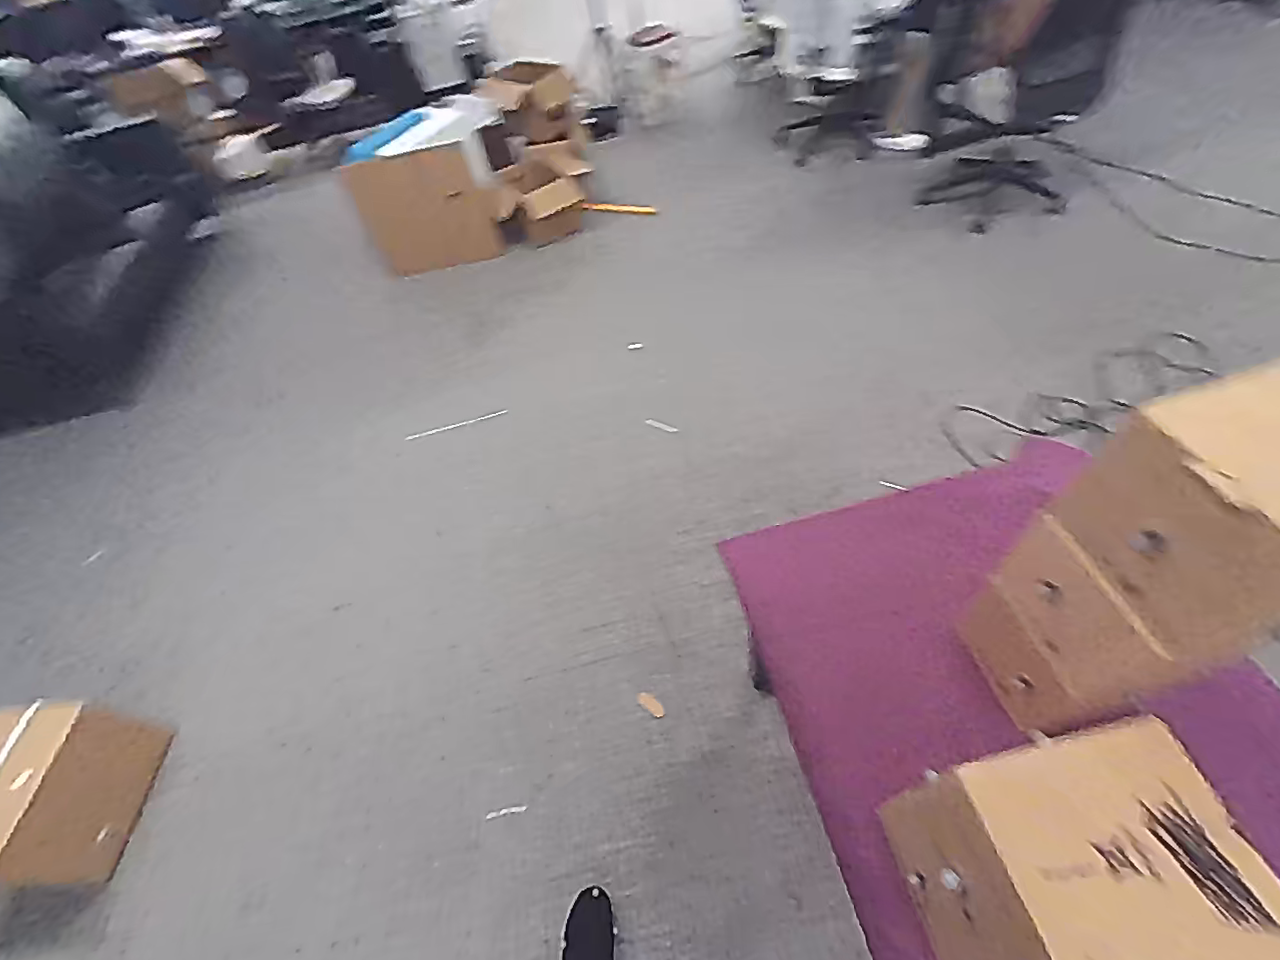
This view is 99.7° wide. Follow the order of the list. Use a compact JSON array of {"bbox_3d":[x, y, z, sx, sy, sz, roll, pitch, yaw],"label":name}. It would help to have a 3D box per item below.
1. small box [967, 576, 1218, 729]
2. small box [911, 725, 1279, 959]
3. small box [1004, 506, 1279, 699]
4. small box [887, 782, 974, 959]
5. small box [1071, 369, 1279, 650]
[{"bbox_3d":[0.576,0.219,0.728,0.179,0.176,0.168,-14,53,0],"label":"small box"},{"bbox_3d":[0.374,0.333,0.472,0.179,0.176,0.168,-13,52,0],"label":"small box"},{"bbox_3d":[0.547,0.125,0.600,0.179,0.176,0.168,-15,53,-1],"label":"small box"},{"bbox_3d":[0.398,0.428,0.603,0.179,0.176,0.168,-13,53,0],"label":"small box"},{"bbox_3d":[0.527,0.028,0.468,0.179,0.176,0.168,-16,54,0],"label":"small box"}]
